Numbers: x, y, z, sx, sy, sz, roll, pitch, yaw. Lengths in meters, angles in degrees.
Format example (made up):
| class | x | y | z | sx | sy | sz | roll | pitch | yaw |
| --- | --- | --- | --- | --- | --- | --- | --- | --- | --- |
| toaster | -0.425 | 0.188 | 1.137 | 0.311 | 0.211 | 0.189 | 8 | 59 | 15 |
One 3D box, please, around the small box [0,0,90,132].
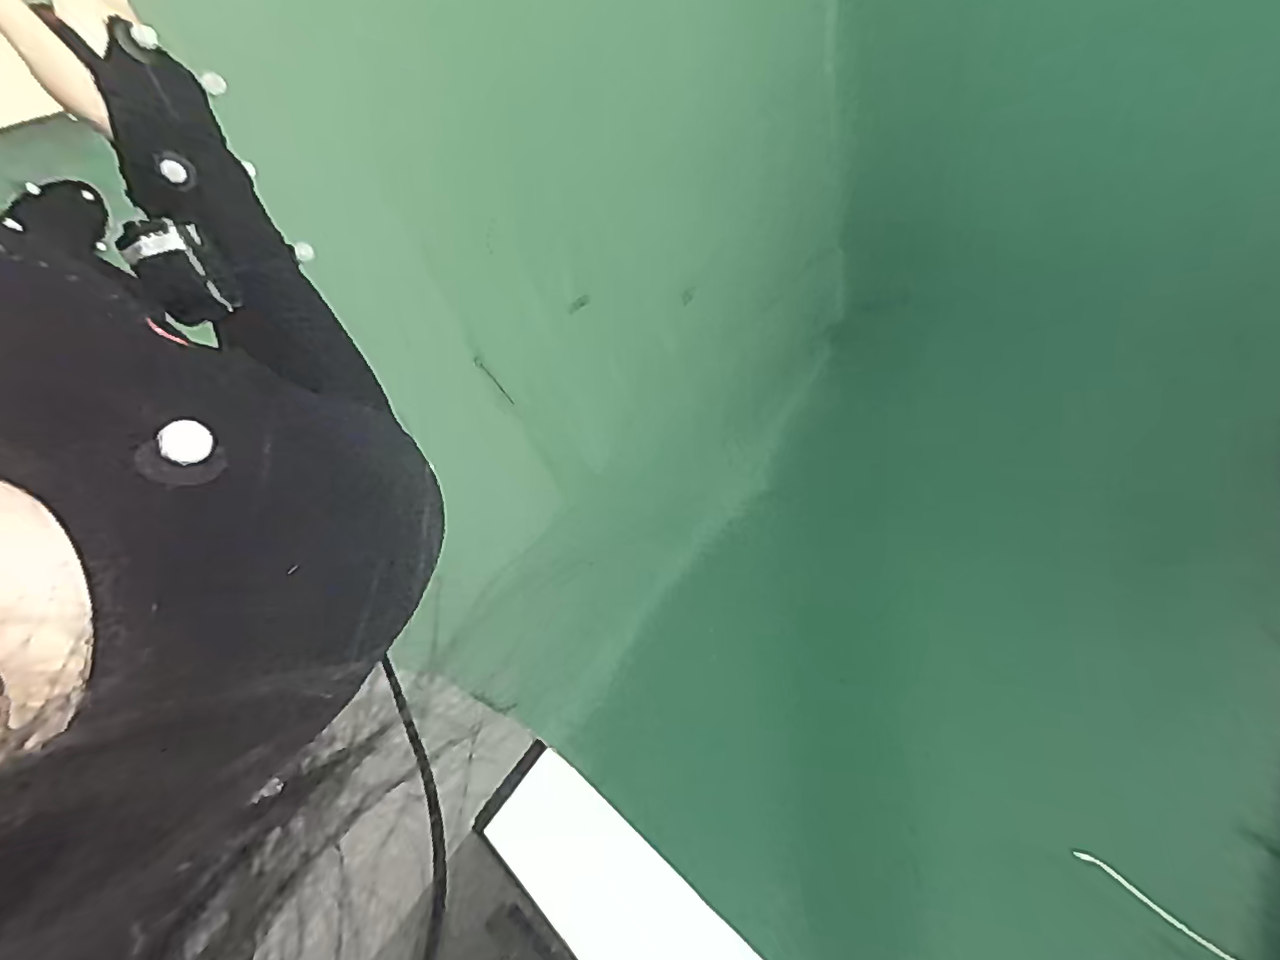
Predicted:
| class | x | y | z | sx | sy | sz | roll | pitch | yaw |
| --- | --- | --- | --- | --- | --- | --- | --- | --- | --- |
| small box | -0.991 | -0.628 | 0.805 | 0.179 | 0.176 | 0.168 | -44 | 140 | -26 |
